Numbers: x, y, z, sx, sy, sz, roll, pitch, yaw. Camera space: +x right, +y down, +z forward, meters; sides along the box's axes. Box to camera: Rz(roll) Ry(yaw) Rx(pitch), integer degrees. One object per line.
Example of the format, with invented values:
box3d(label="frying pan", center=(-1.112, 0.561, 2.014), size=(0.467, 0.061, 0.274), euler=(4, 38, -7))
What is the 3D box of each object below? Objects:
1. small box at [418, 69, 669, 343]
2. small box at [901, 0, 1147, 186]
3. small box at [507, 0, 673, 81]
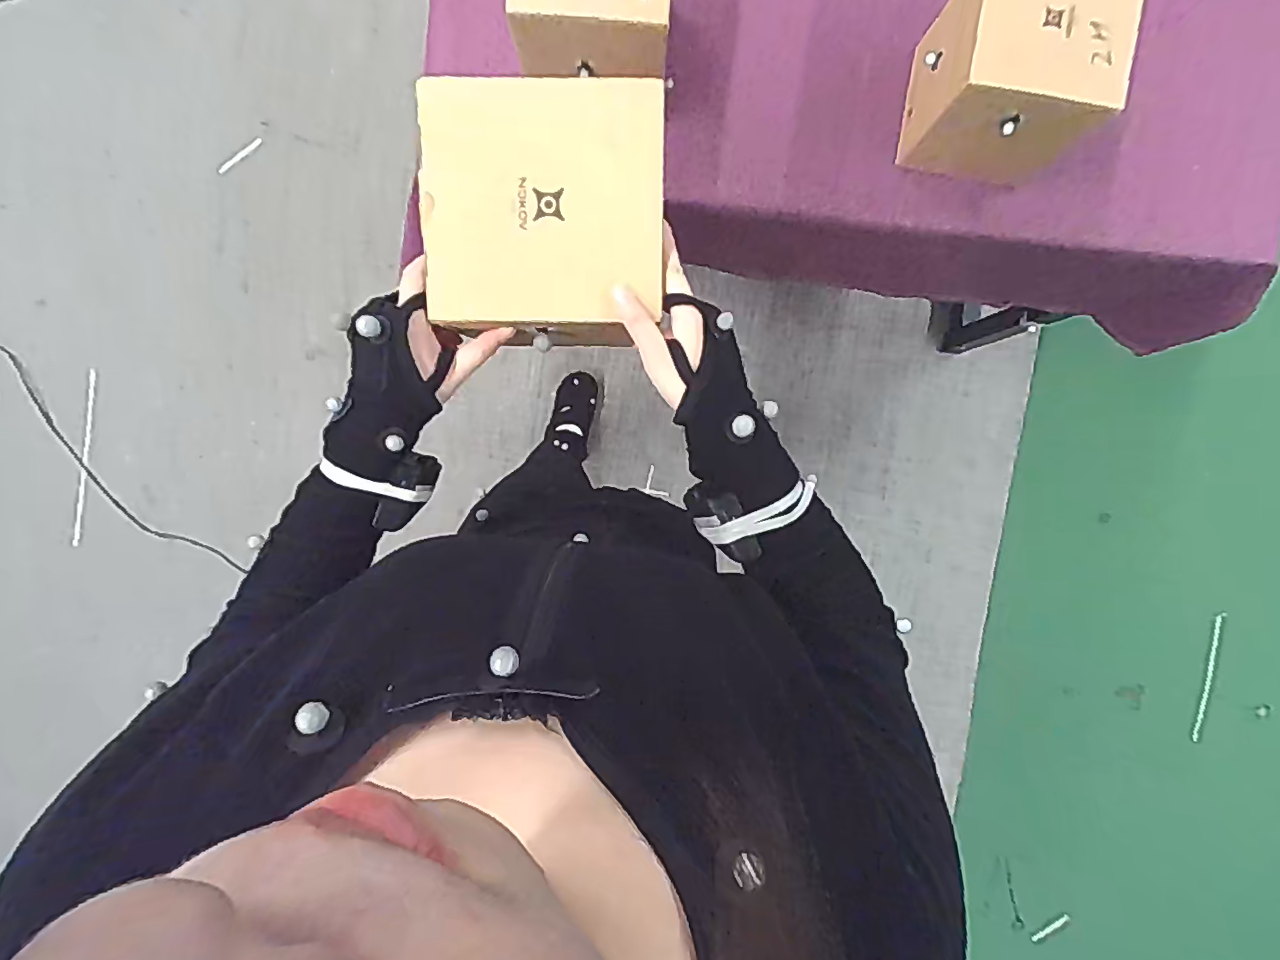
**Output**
box3d(label="small box", center=(-0.068, -0.212, 0.463), size=(0.179, 0.176, 0.168), euler=(1, 98, 1))
box3d(label="small box", center=(0.451, -0.490, 0.660), size=(0.179, 0.176, 0.168), euler=(10, 92, -1))
box3d(label="small box", center=(-0.049, -0.568, 0.651), size=(0.179, 0.176, 0.168), euler=(4, 92, 0))
